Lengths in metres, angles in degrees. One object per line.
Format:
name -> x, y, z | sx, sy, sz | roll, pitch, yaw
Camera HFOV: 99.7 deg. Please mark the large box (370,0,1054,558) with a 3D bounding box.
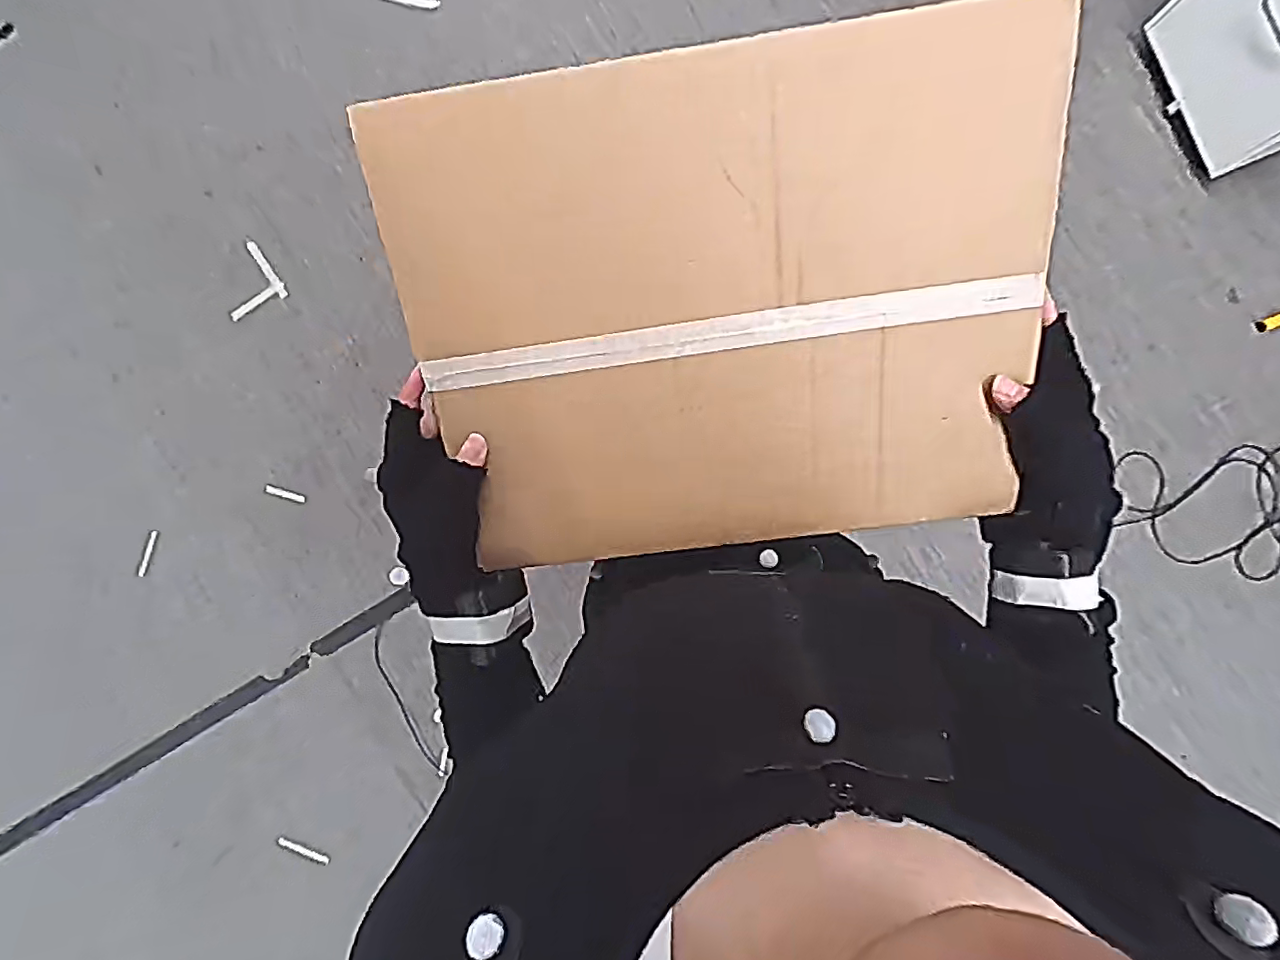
large box -> 0.053, -0.156, 0.501 | 0.408, 0.320, 0.320 | -6, 113, 4
